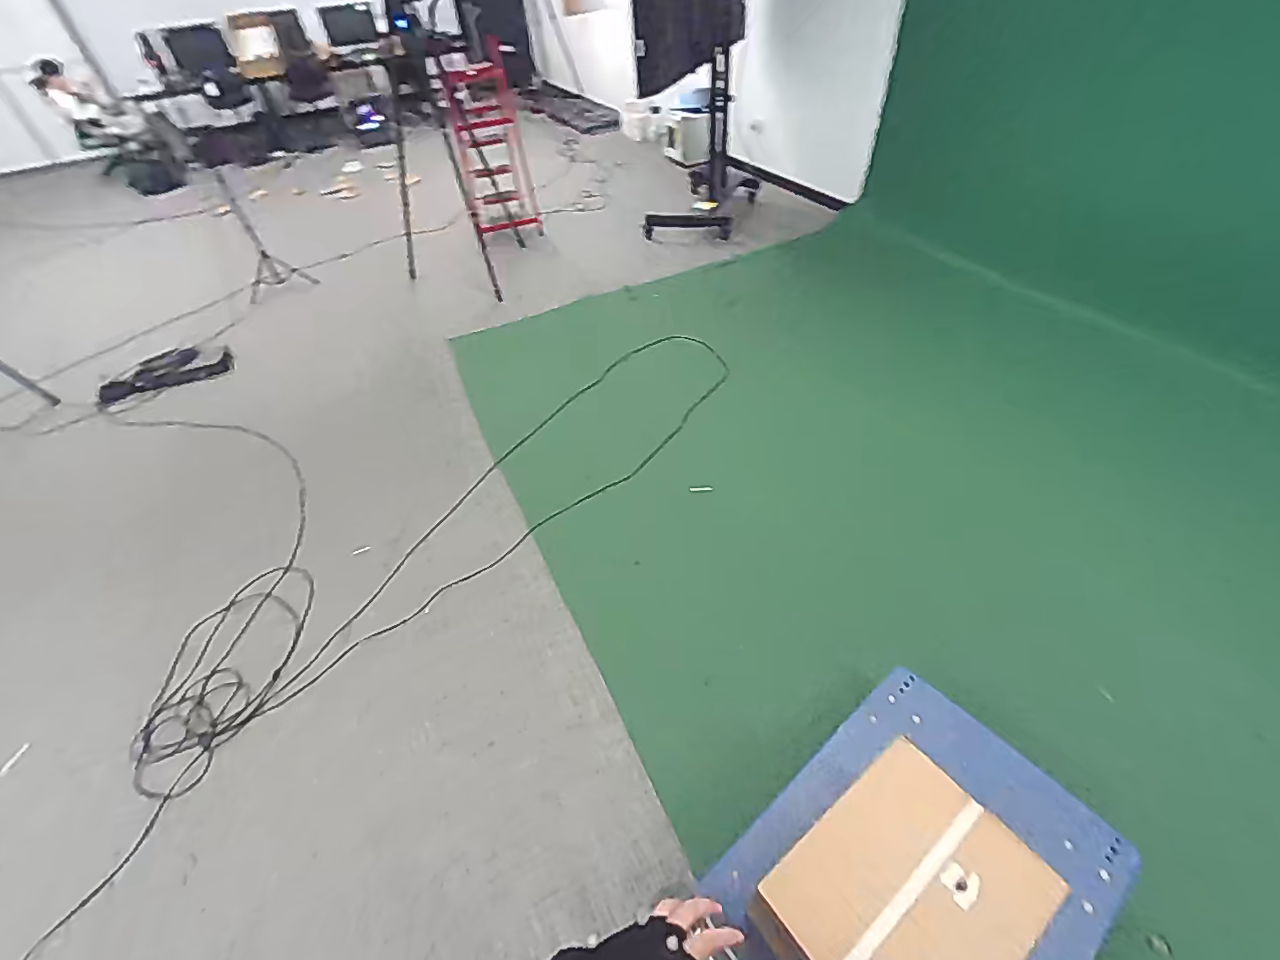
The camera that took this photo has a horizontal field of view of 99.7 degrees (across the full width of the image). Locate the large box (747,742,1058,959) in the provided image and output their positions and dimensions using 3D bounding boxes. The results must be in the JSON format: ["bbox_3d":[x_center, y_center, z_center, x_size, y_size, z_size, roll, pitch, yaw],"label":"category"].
[{"bbox_3d":[0.451,0.793,0.999,0.408,0.320,0.320,-30,50,-23],"label":"large box"}]
